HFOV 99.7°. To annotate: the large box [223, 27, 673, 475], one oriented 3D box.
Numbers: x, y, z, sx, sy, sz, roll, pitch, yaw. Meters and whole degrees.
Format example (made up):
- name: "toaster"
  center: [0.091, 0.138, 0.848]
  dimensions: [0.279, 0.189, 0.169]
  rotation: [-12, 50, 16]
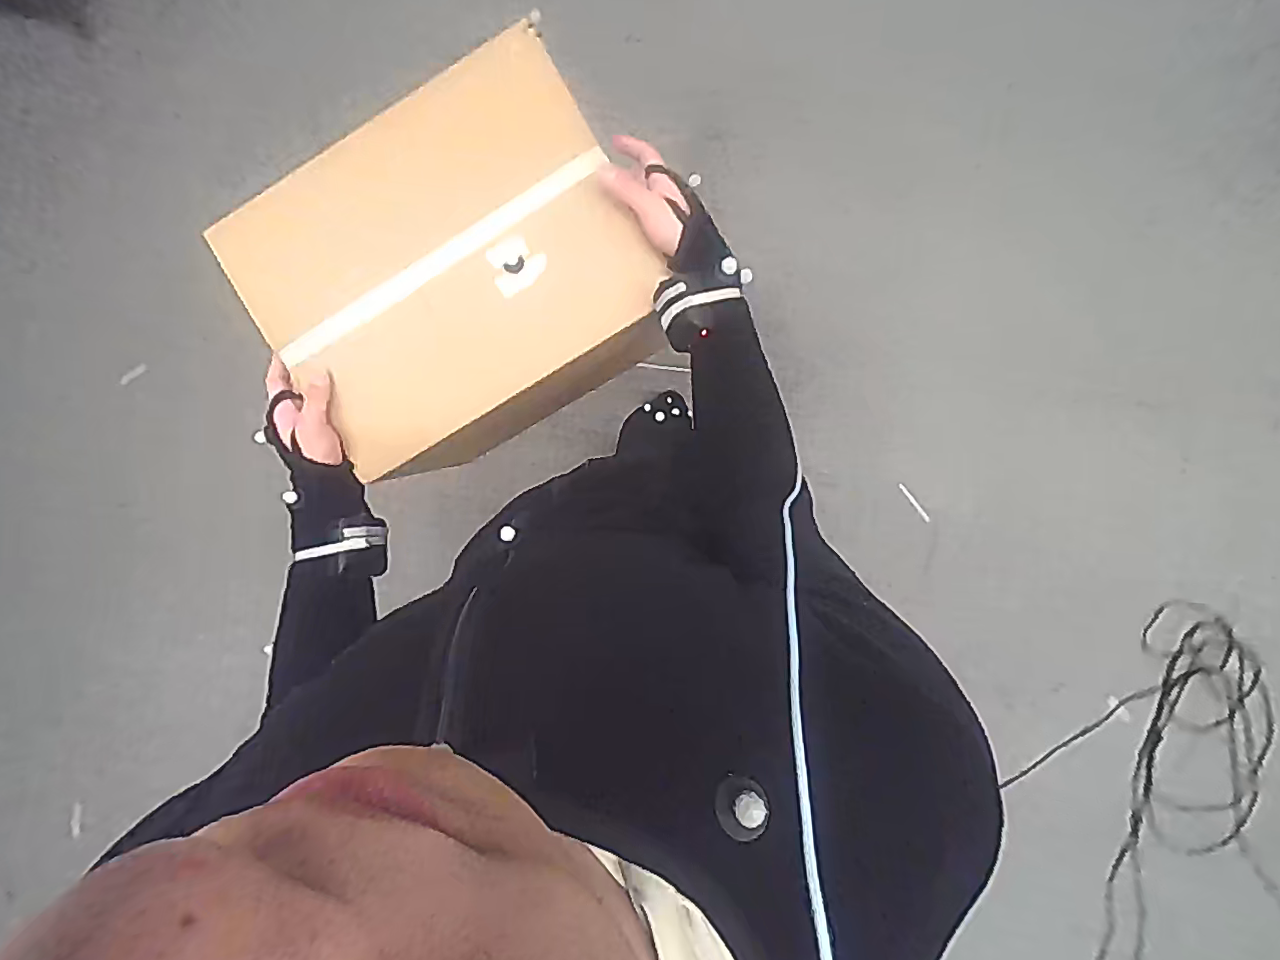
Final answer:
- name: "large box"
  center: [-0.205, -0.247, 0.725]
  dimensions: [0.408, 0.320, 0.320]
  rotation: [-31, 95, 4]
